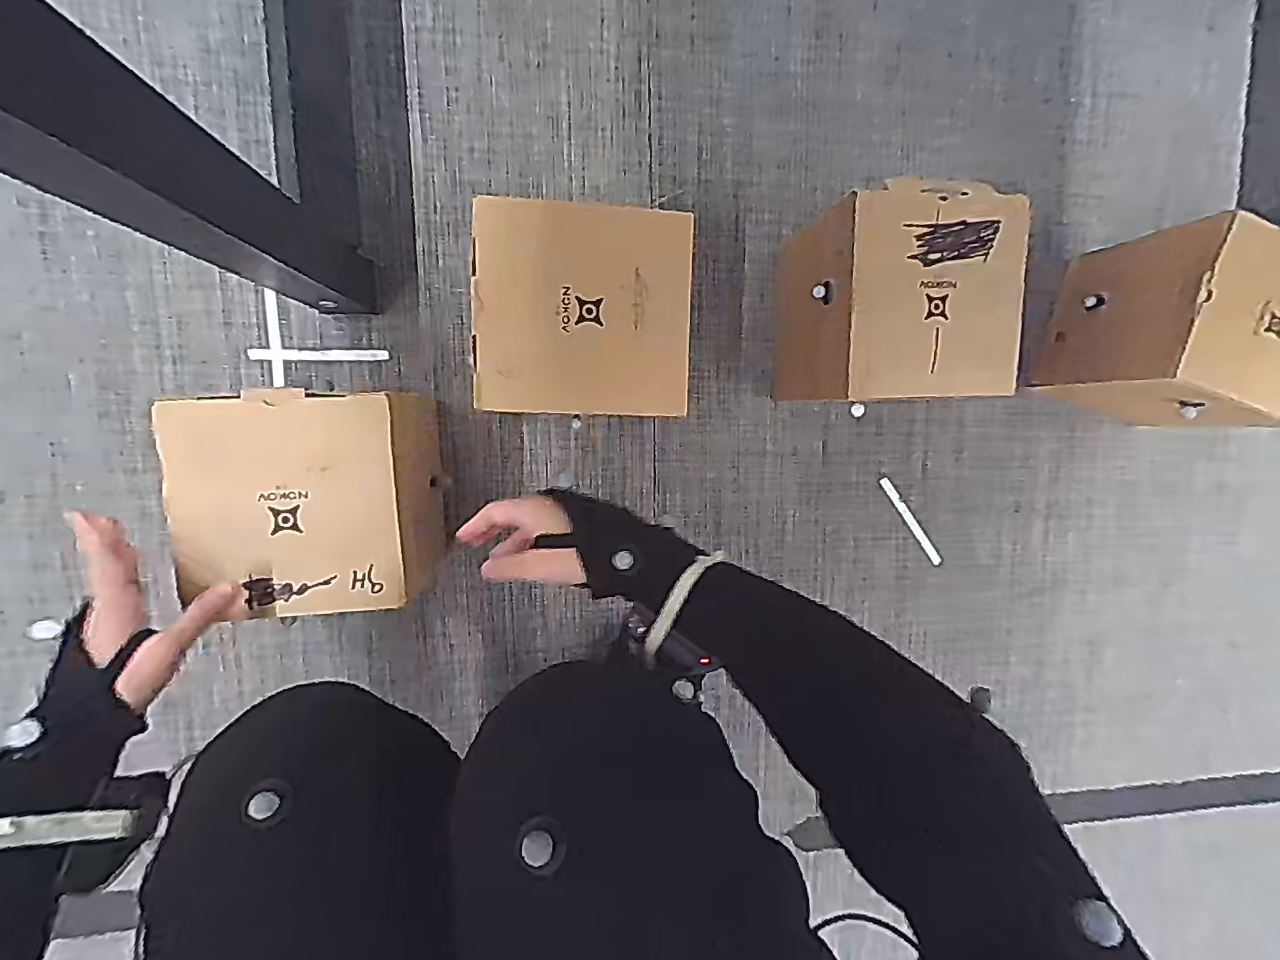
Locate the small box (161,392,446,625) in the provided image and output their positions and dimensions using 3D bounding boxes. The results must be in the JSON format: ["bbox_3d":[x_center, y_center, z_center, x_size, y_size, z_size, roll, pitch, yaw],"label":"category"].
[{"bbox_3d":[-0.281,0.015,0.494,0.168,0.176,0.179,-2,96,-9],"label":"small box"}]

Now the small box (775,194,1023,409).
[{"bbox_3d":[0.246,-0.164,0.552,0.168,0.176,0.179,-2,97,-8],"label":"small box"}]

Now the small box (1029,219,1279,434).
[{"bbox_3d":[0.598,-0.157,0.606,0.179,0.176,0.168,16,94,-9],"label":"small box"}]
